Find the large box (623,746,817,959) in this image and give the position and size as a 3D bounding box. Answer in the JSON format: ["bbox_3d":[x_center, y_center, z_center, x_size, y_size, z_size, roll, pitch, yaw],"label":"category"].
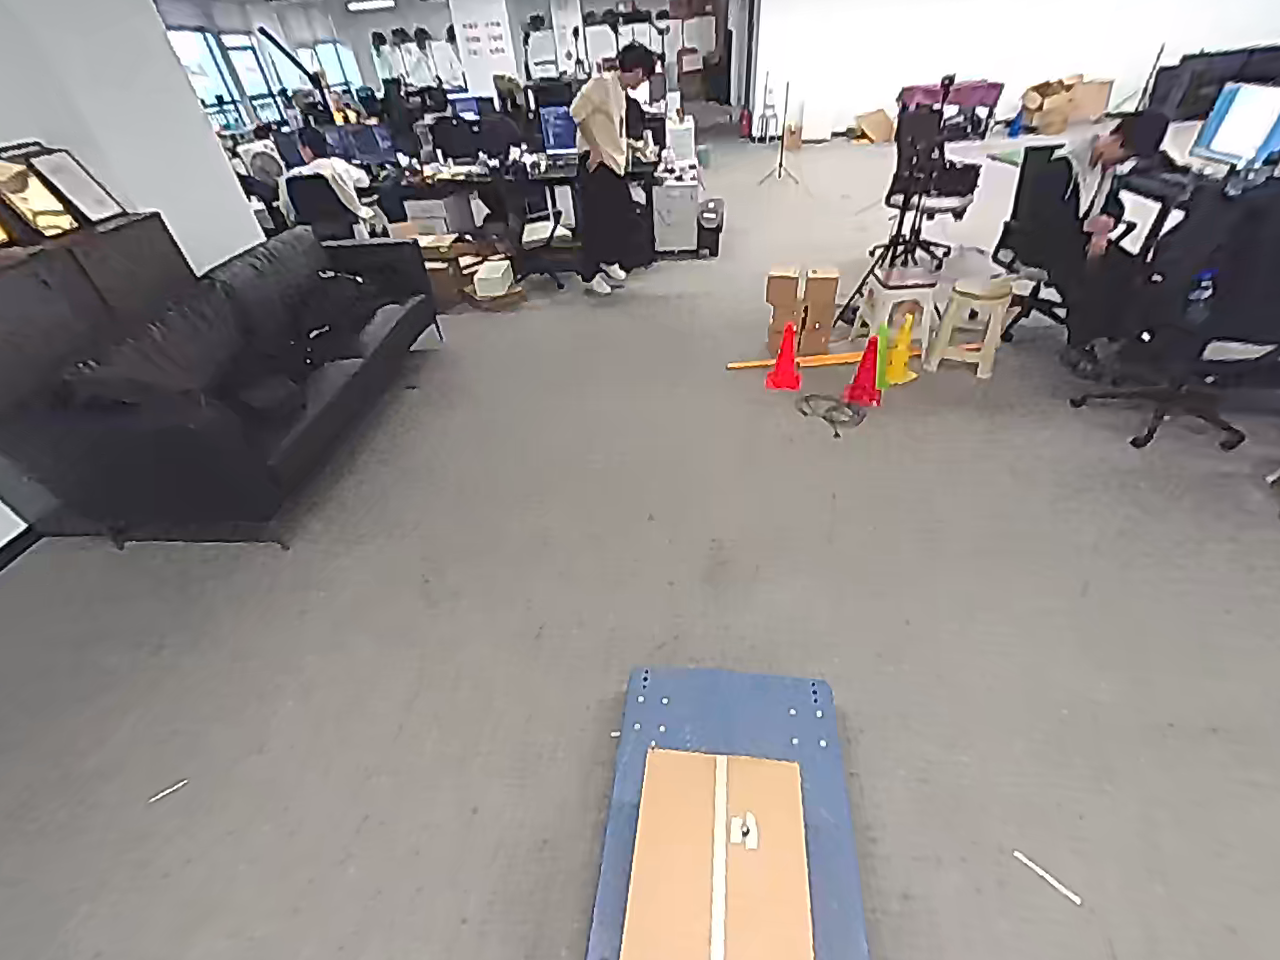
[{"bbox_3d":[0.155,0.808,1.066,0.320,0.320,0.408,2,39,8],"label":"large box"}]
